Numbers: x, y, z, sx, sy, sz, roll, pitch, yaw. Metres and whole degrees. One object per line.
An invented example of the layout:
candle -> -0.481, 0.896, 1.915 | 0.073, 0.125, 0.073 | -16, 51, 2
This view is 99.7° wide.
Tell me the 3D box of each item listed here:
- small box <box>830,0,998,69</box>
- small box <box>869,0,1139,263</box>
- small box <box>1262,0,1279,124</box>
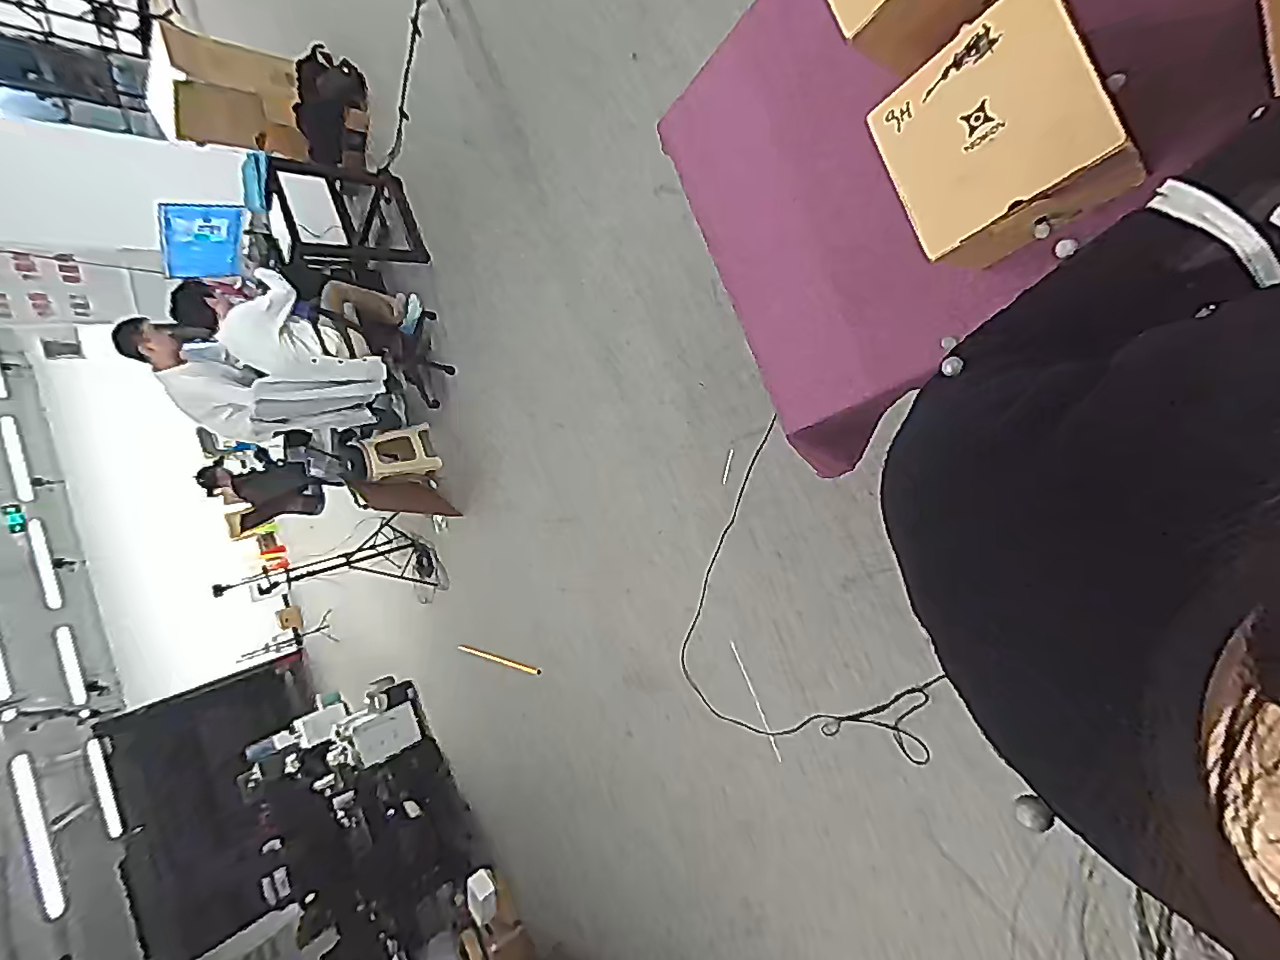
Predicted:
small box -> 0.300, -0.587, 0.578 | 0.168, 0.176, 0.179 | -26, 82, 47
small box -> 0.380, -0.348, 0.564 | 0.168, 0.176, 0.179 | -26, 83, 48
small box -> 0.527, -0.368, 0.336 | 0.168, 0.176, 0.179 | -2, 67, 43
